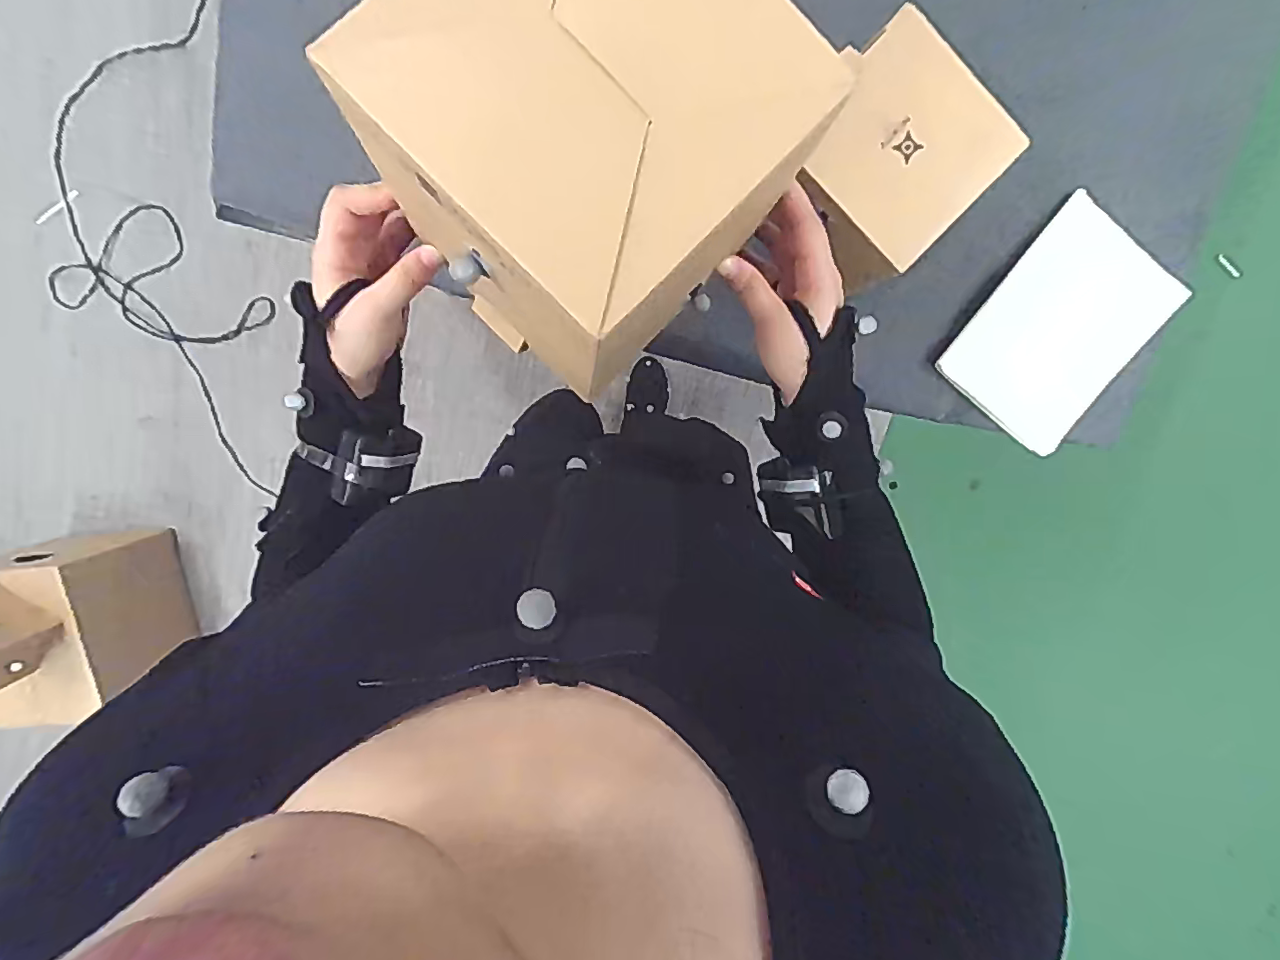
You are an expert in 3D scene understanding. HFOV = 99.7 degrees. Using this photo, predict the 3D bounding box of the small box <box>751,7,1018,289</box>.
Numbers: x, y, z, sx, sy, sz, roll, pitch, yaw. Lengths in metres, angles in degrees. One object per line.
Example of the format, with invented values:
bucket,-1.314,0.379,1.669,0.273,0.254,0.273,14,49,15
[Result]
small box,0.243,-0.331,0.589,0.179,0.176,0.168,43,98,-6

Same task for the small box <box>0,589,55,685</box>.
small box,-1.456,0.358,1.171,0.179,0.176,0.168,35,99,-8

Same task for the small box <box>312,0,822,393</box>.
small box,-0.033,-0.178,0.311,0.168,0.176,0.179,44,84,-4
